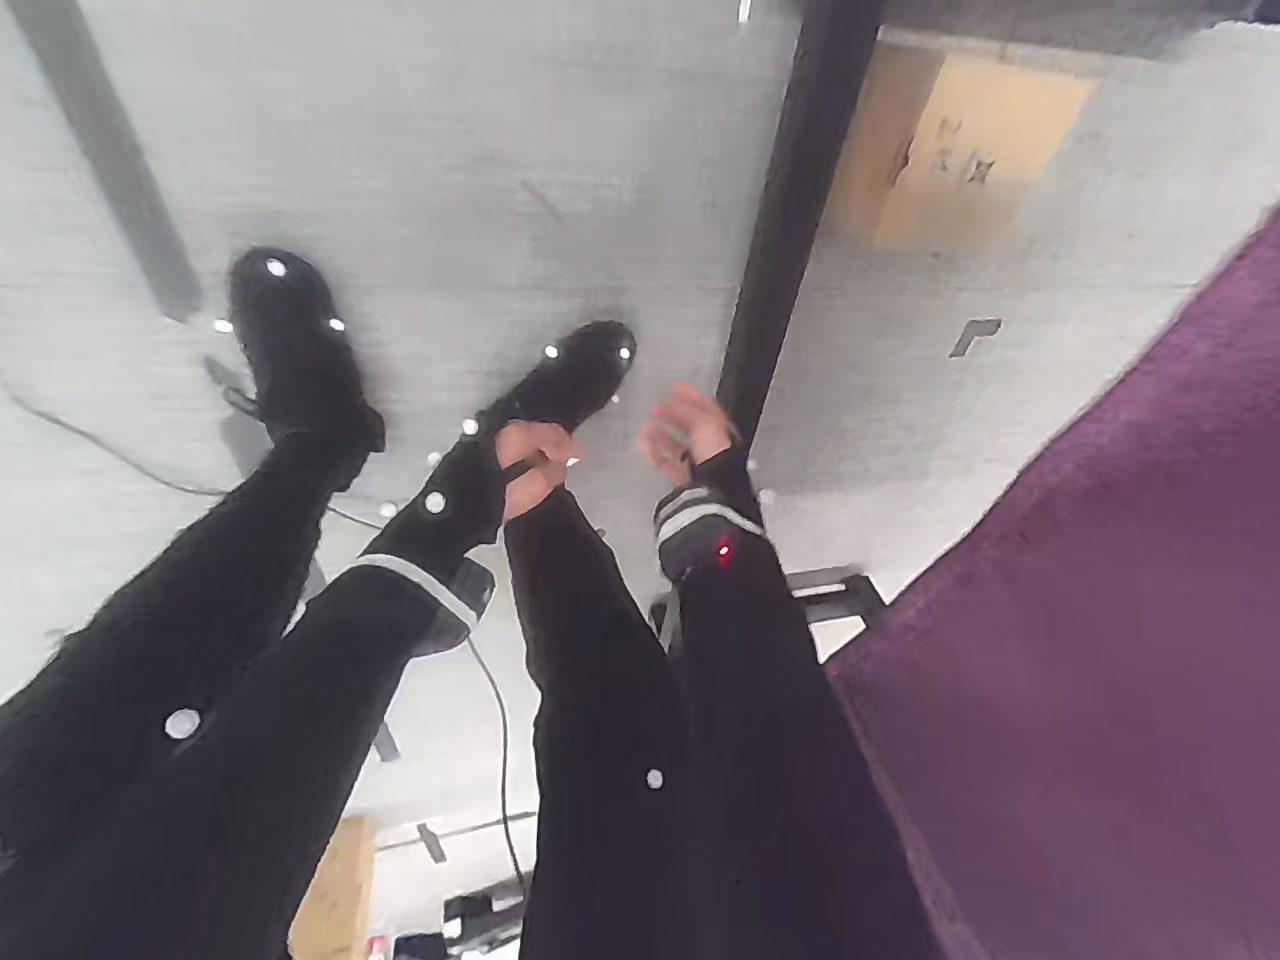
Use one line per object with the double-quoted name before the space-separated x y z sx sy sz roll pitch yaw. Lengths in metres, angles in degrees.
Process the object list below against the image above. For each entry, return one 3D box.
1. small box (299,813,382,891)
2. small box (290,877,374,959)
"small box" -0.921 1.165 1.679 0.179 0.176 0.168 -5 134 -13
"small box" -0.885 1.283 1.573 0.168 0.176 0.179 -1 132 -15
